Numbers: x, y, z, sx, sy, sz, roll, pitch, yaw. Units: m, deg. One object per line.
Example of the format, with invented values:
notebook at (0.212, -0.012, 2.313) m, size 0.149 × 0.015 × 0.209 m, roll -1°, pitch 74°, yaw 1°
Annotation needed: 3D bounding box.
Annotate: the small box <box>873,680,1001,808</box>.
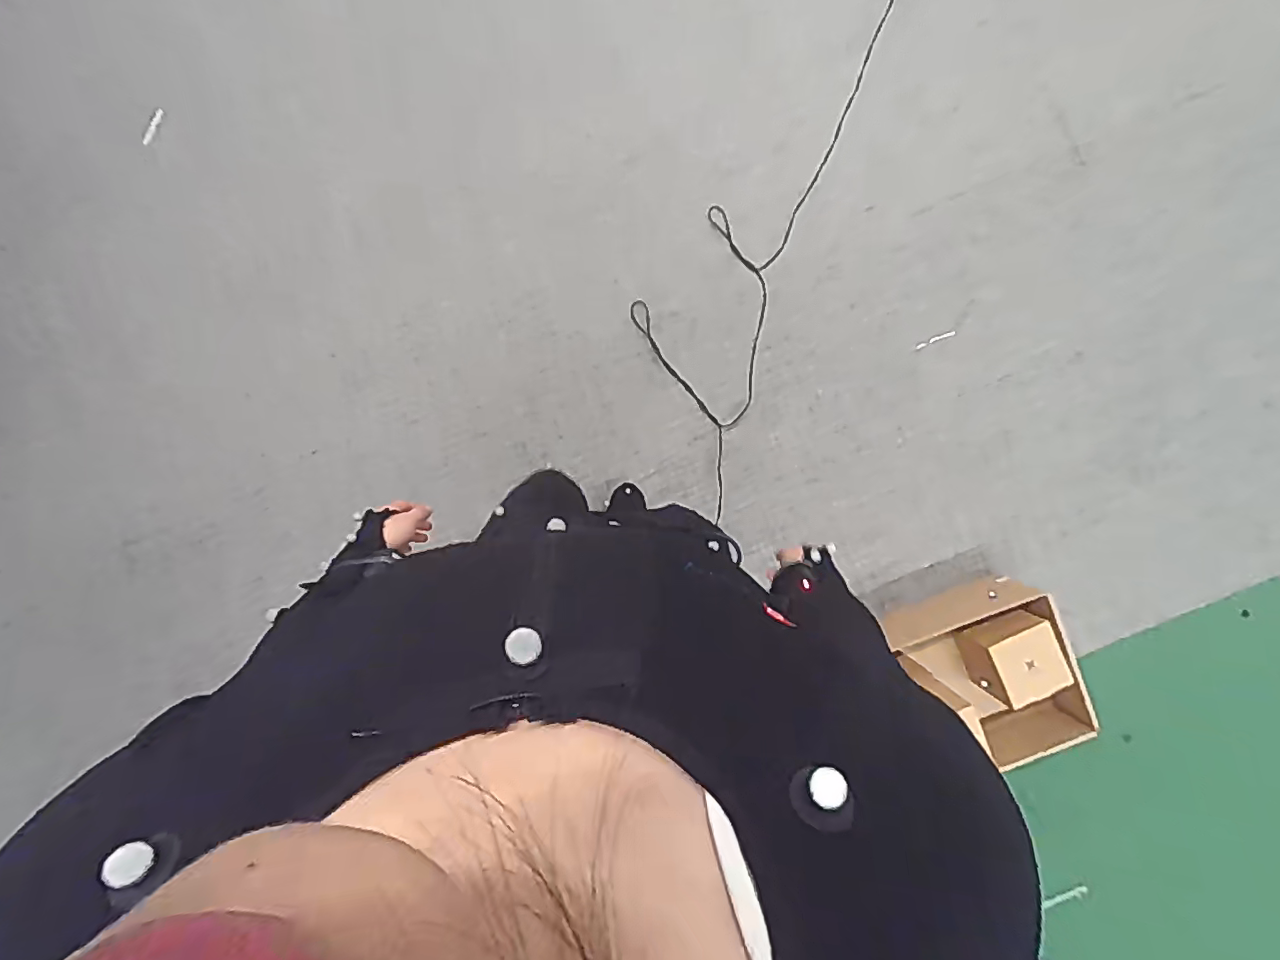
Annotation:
small box at (0.664, 0.589, 1.227) m, size 0.168 × 0.176 × 0.179 m, roll -22°, pitch 92°, yaw -1°
